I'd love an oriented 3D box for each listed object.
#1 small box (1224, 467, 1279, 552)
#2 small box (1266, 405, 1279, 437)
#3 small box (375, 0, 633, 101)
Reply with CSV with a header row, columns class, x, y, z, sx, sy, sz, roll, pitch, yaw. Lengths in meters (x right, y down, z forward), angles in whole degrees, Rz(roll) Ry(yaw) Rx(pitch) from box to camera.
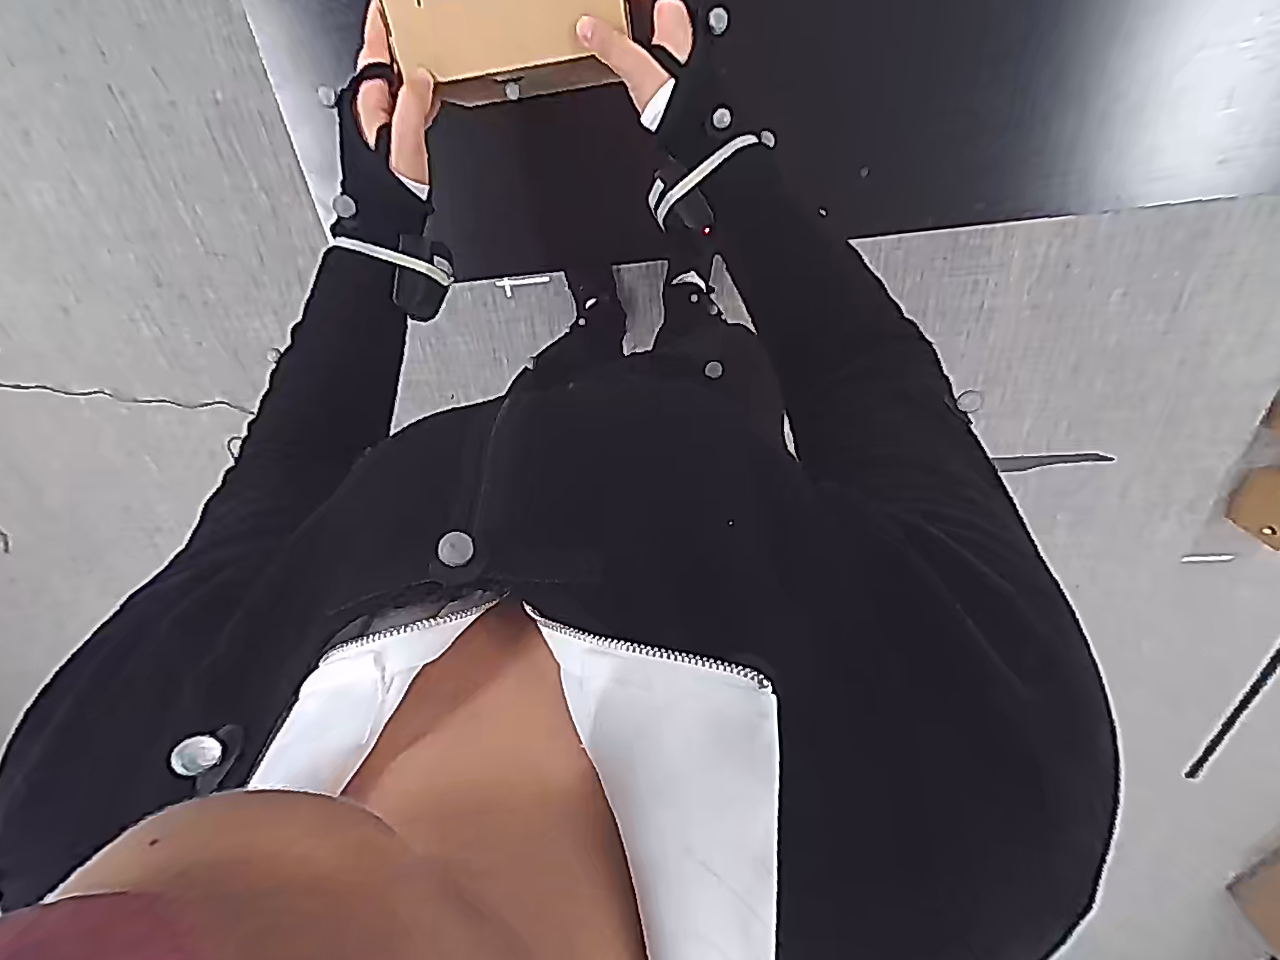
class,x,y,z,sx,sy,sz,roll,pitch,yaw
small box,1.808,0.079,1.506,0.168,0.176,0.179,-5,121,5
small box,1.773,-0.165,1.360,0.179,0.176,0.168,-2,120,4
small box,-0.103,-0.414,0.425,0.179,0.176,0.168,-6,121,4
